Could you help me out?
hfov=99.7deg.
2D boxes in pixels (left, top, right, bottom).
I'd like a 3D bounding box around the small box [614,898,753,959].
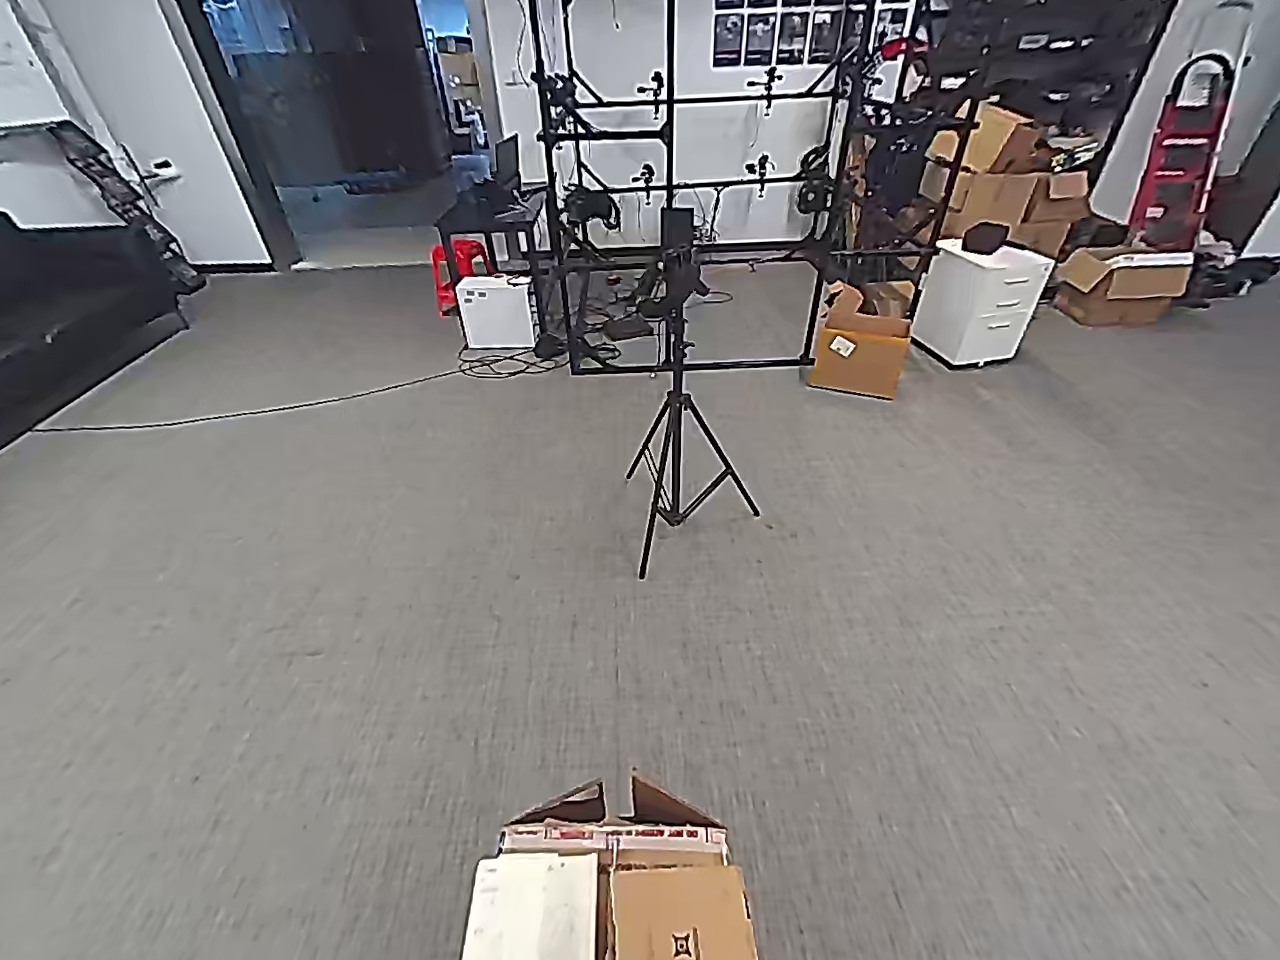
[{"bbox_3d":[0.055,0.675,0.711,0.179,0.176,0.168,-2,39,-3],"label":"small box"}]
